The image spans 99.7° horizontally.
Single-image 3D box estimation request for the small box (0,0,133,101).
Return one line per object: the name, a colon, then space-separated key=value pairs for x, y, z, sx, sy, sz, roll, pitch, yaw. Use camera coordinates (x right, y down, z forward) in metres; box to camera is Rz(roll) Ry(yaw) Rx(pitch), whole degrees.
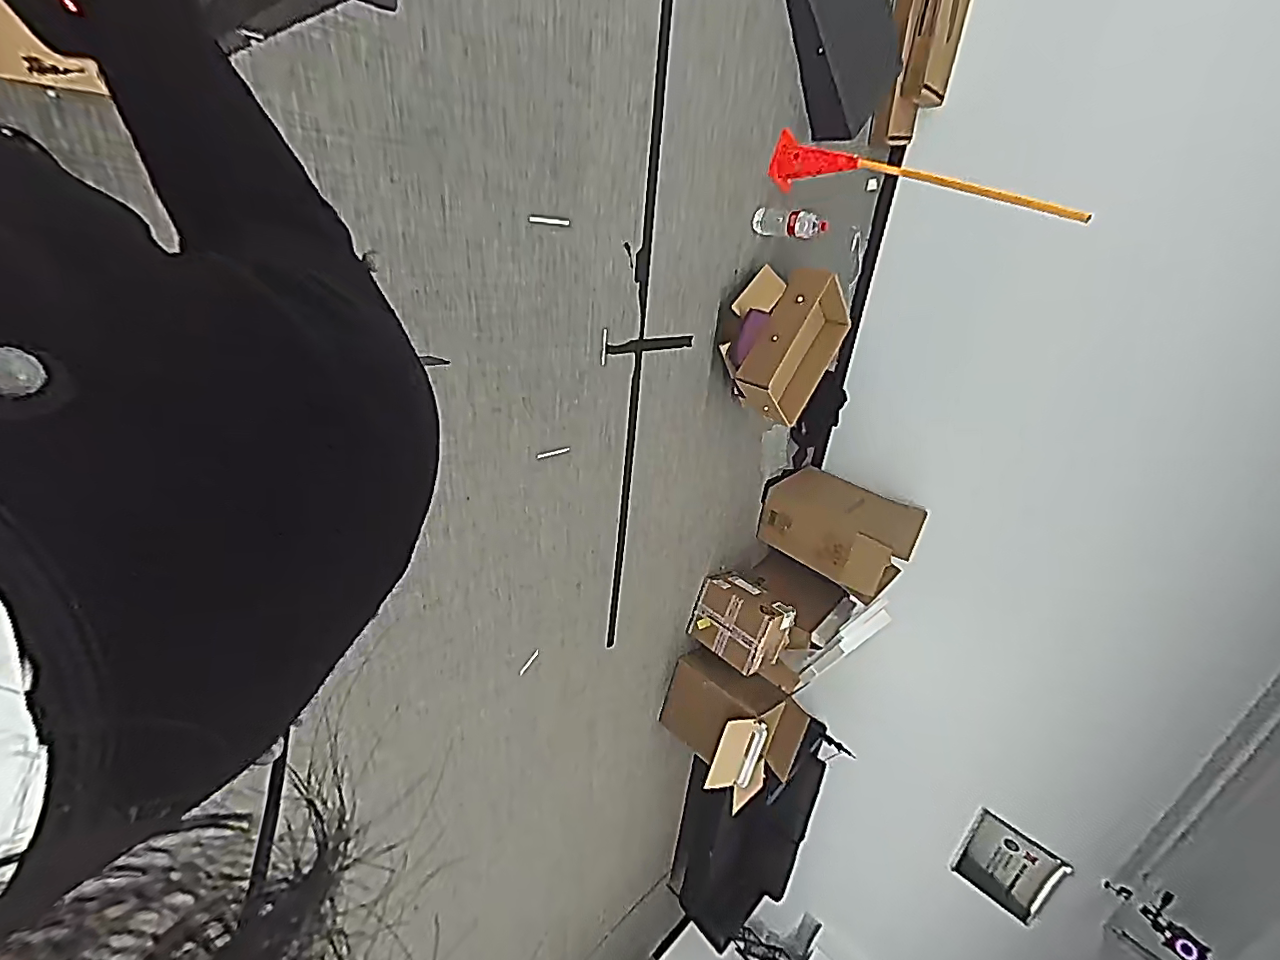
small box: x=-0.931 y=-0.714 z=0.839 sx=0.168 sy=0.176 sz=0.179 roll=-19 pitch=125 yaw=-41
